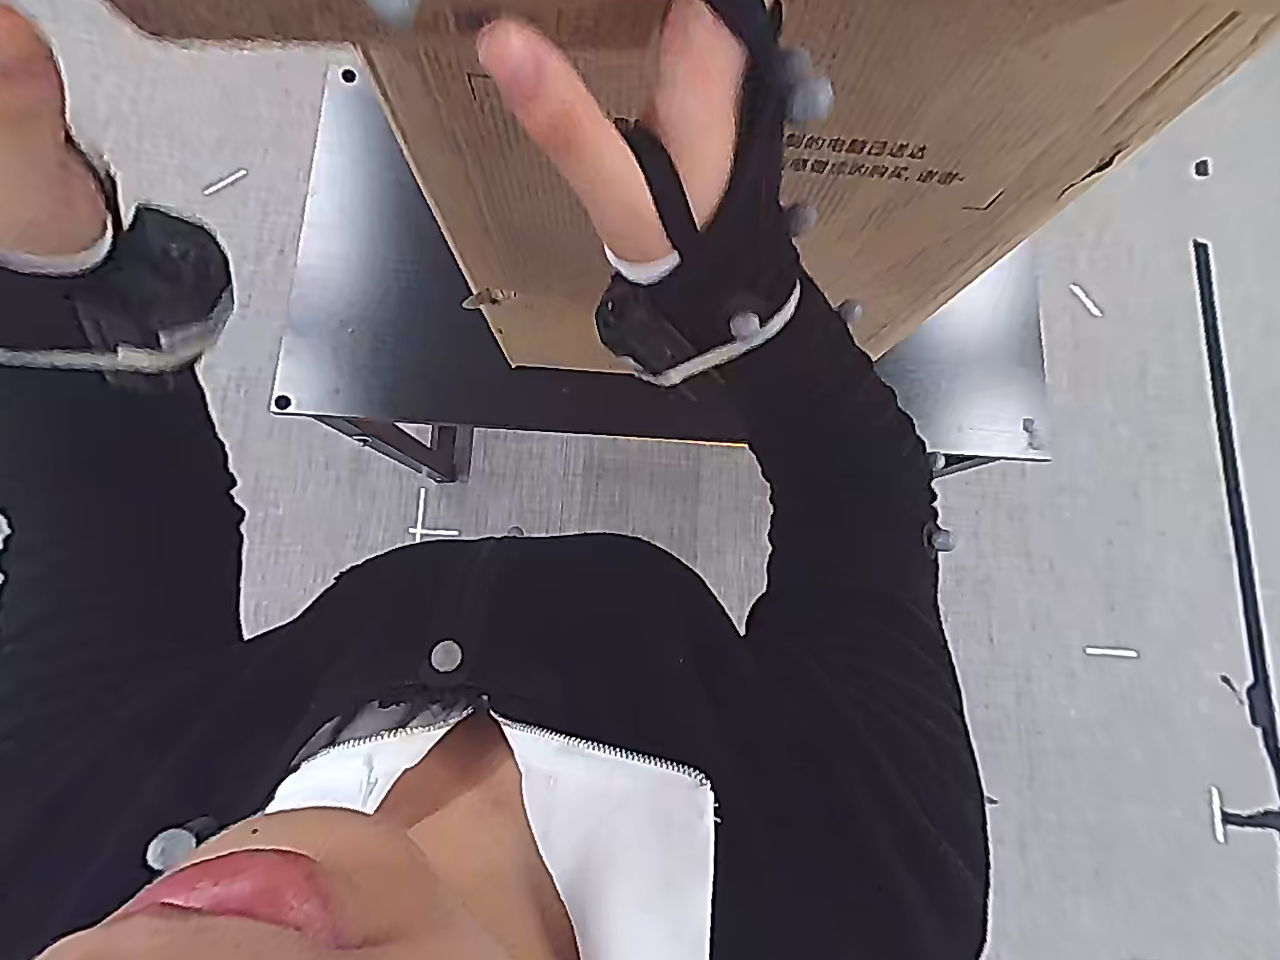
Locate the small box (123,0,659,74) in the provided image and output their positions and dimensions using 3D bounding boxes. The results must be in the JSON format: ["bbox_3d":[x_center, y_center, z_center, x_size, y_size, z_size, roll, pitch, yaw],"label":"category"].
[{"bbox_3d":[-0.069,-0.204,0.087,0.168,0.176,0.179,-8,108,-9],"label":"small box"}]
